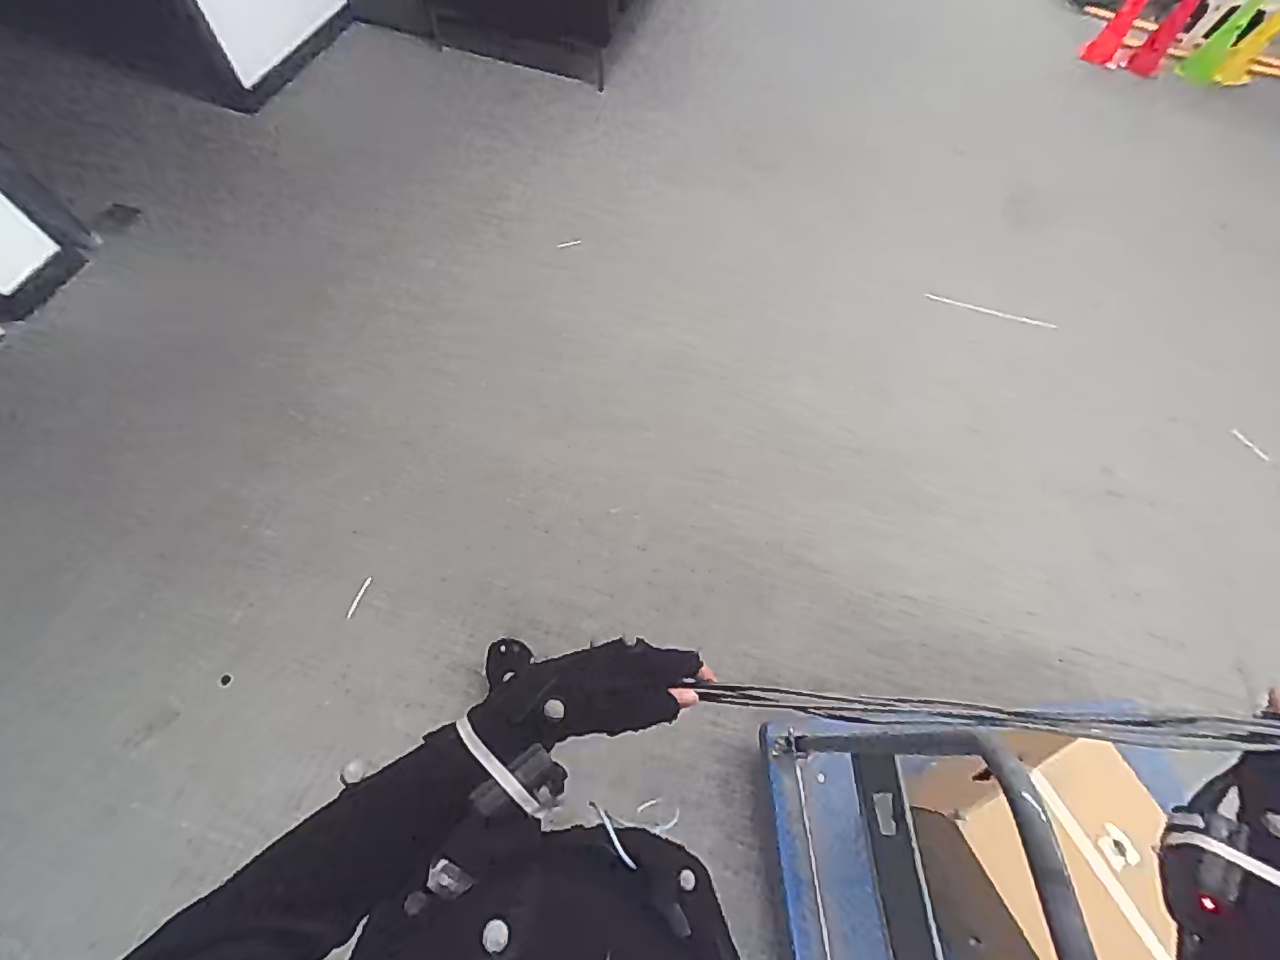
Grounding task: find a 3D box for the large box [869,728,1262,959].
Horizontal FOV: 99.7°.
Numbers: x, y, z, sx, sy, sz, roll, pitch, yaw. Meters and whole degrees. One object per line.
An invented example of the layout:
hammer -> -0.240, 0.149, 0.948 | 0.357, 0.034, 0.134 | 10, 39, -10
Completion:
large box -> 0.690, 0.702, 0.932 | 0.320, 0.320, 0.408 | -22, 65, -15
